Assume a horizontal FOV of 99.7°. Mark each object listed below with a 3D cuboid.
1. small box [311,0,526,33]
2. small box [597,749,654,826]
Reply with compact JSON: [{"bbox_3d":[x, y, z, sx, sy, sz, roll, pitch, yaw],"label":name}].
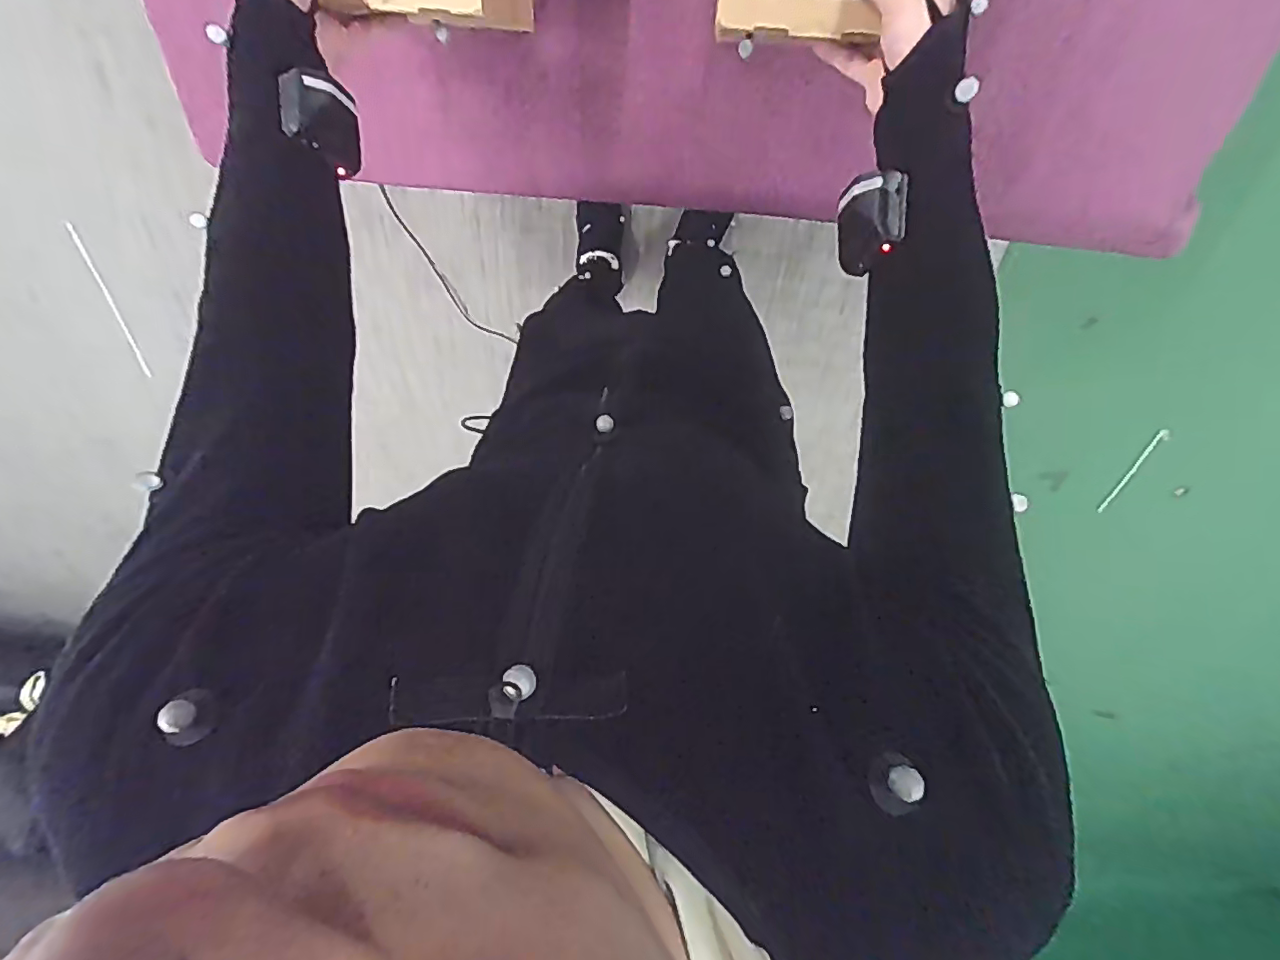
[{"bbox_3d":[-0.203,-0.518,0.473,0.168,0.176,0.179,7,127,2],"label":"small box"},{"bbox_3d":[-0.048,1.103,1.942,0.168,0.176,0.179,13,127,-2],"label":"small box"}]
